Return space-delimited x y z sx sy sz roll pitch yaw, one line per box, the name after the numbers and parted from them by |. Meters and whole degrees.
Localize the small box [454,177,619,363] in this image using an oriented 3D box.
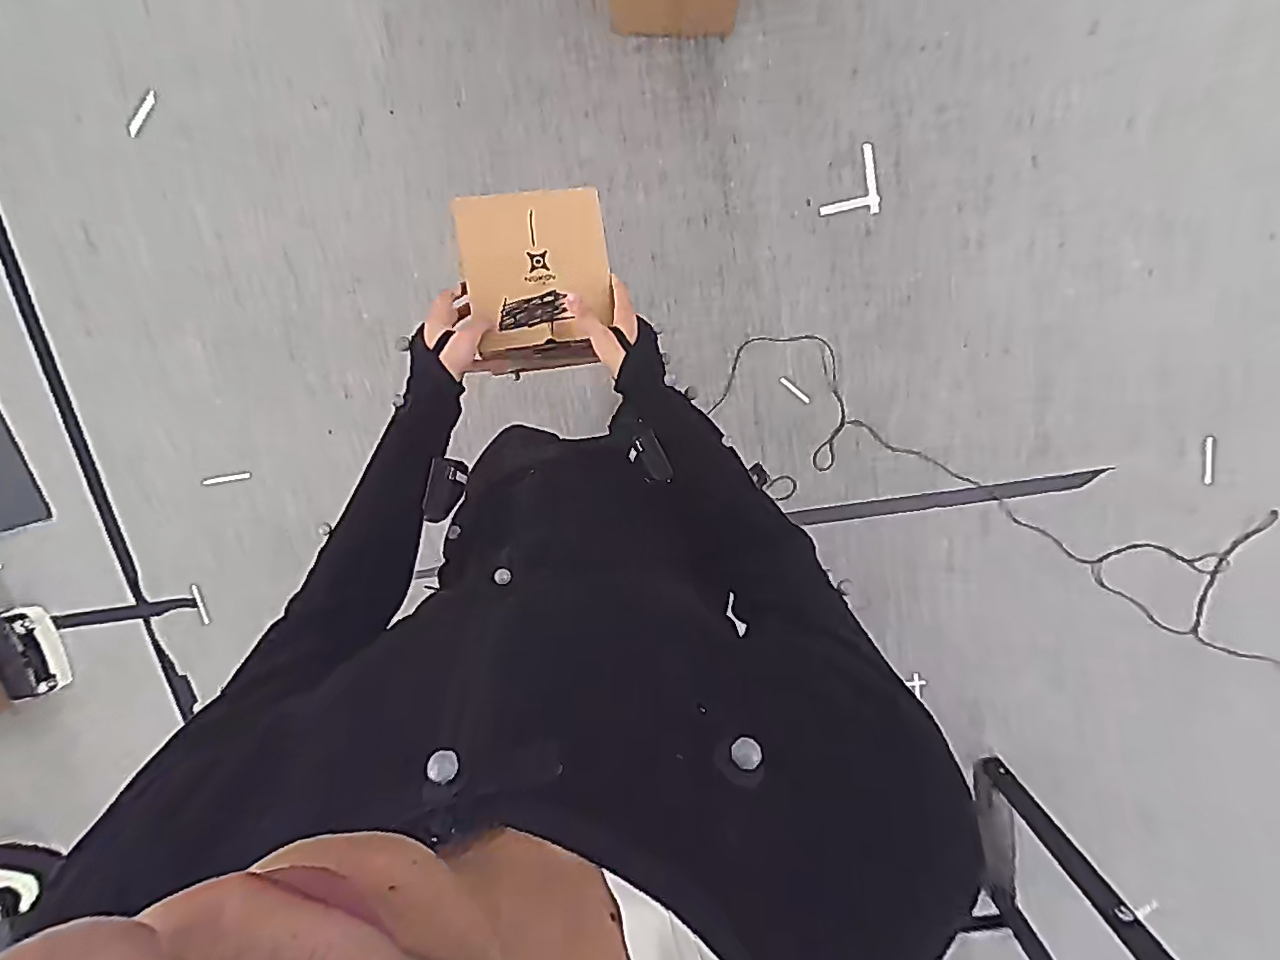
-0.125 -0.251 0.687 0.168 0.176 0.179 -9 94 -9 | small box
